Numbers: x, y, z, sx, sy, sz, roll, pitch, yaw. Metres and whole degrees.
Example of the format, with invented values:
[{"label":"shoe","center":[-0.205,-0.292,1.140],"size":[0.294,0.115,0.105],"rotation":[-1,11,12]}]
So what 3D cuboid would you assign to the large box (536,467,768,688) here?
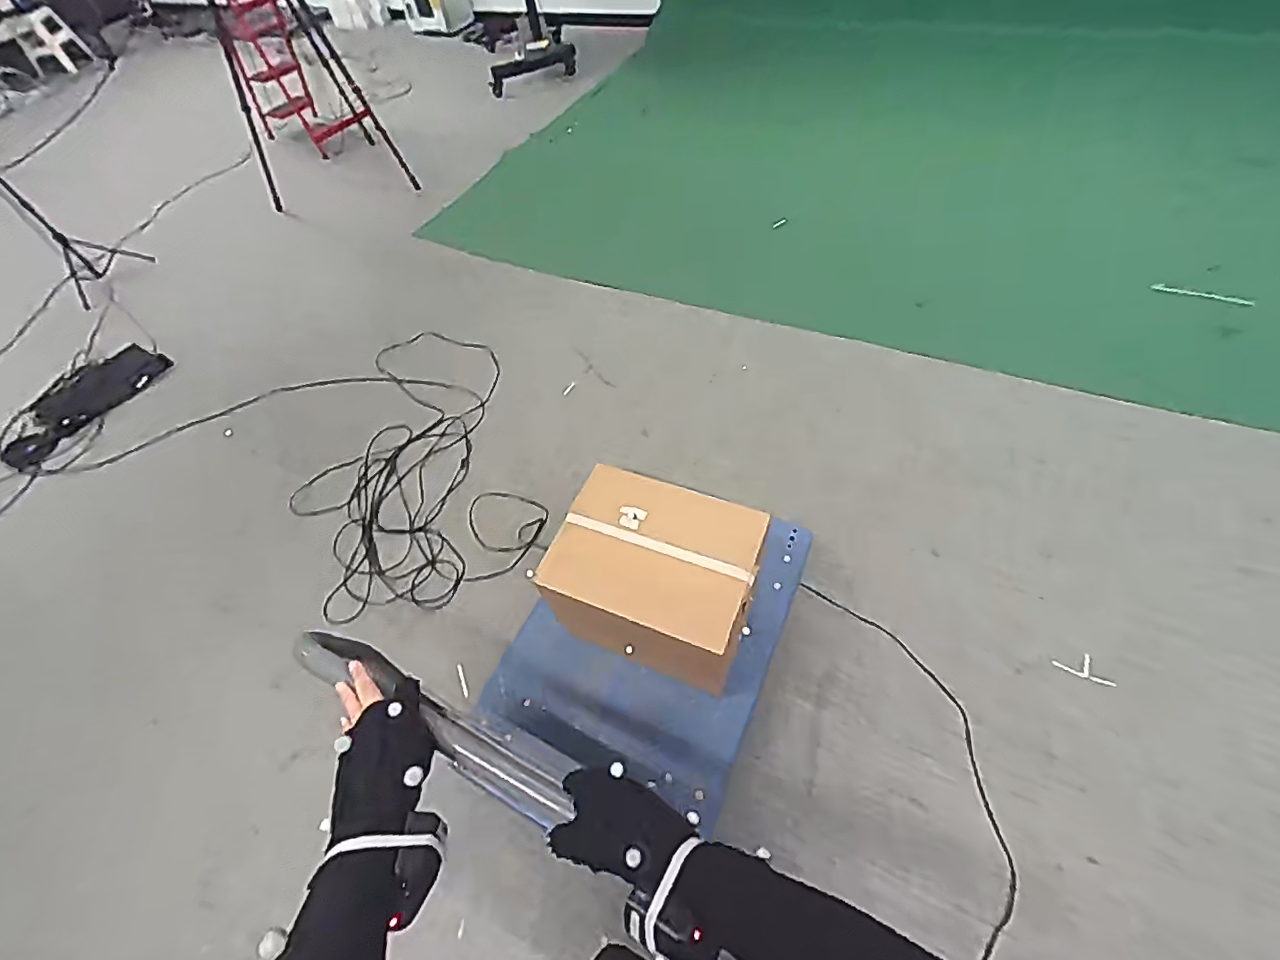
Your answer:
[{"label":"large box","center":[0.047,0.221,1.224],"size":[0.408,0.320,0.320],"rotation":[17,58,19]}]
